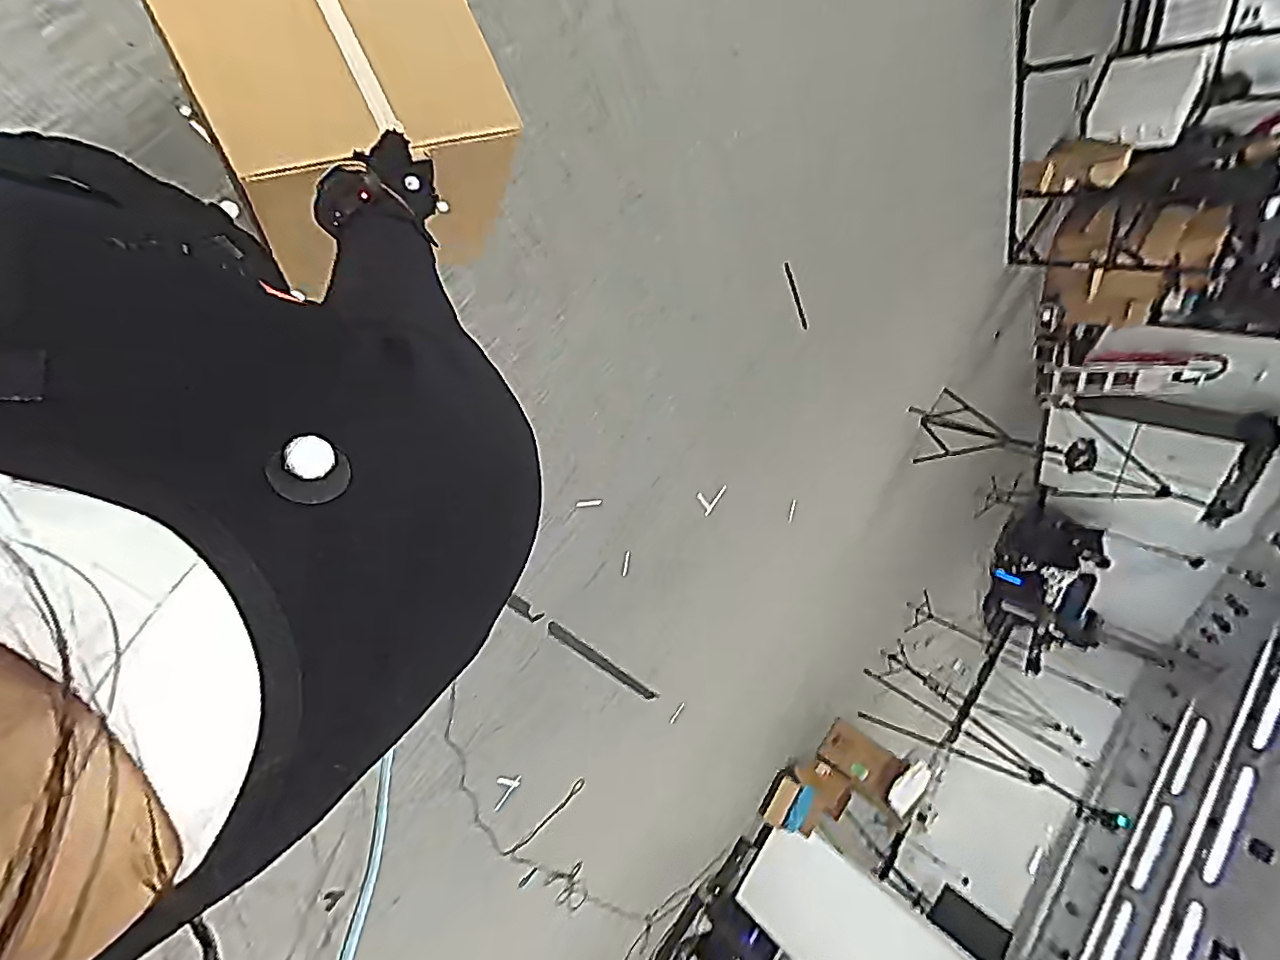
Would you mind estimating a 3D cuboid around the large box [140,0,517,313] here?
[{"bbox_3d":[-0.420,-0.510,0.738,0.320,0.320,0.408,-28,93,-26],"label":"large box"}]
